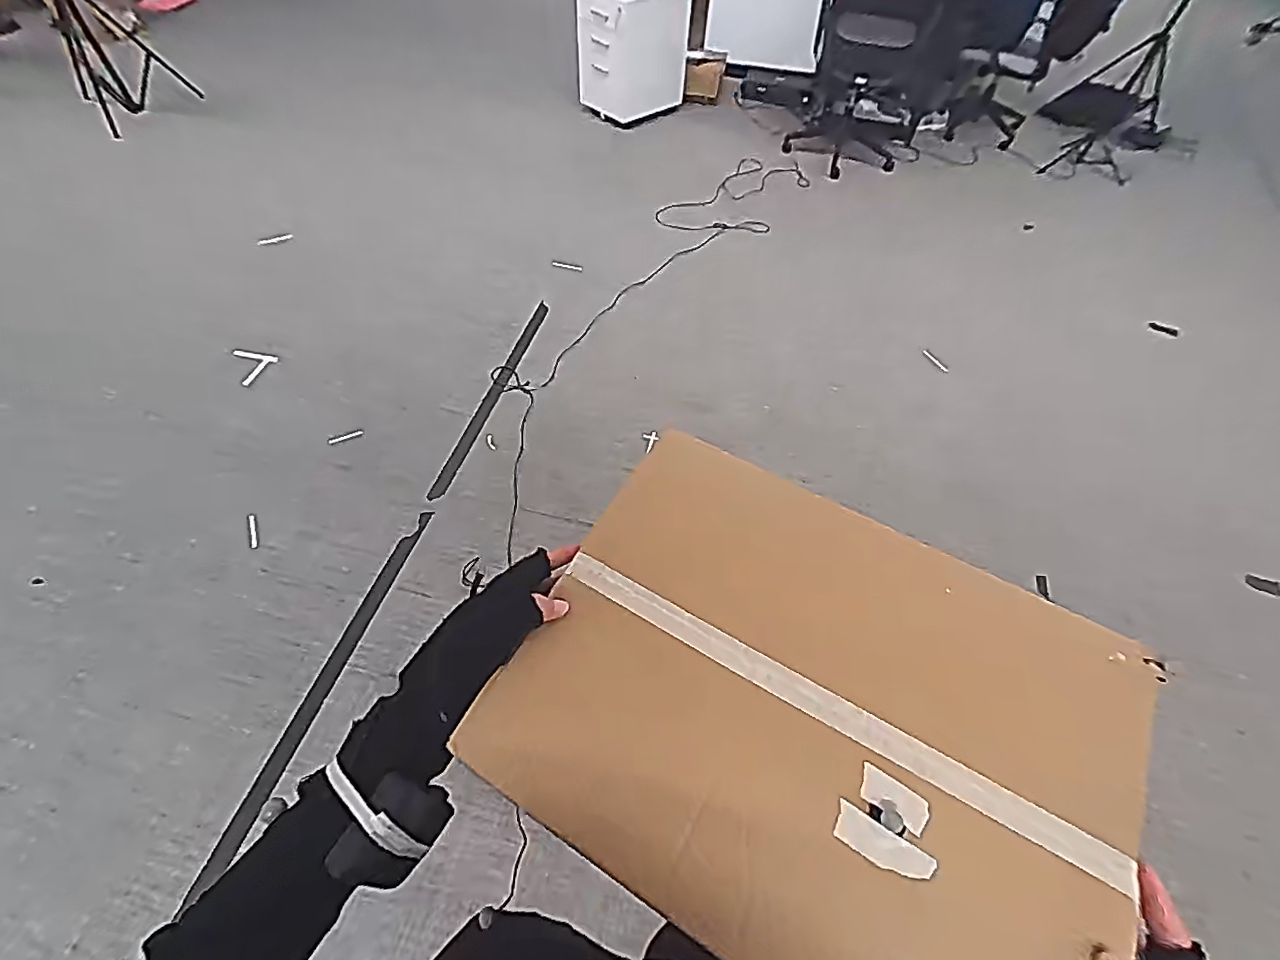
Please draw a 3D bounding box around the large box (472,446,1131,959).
[{"bbox_3d":[0.125,0.237,0.522,0.408,0.320,0.320,27,64,16],"label":"large box"}]
